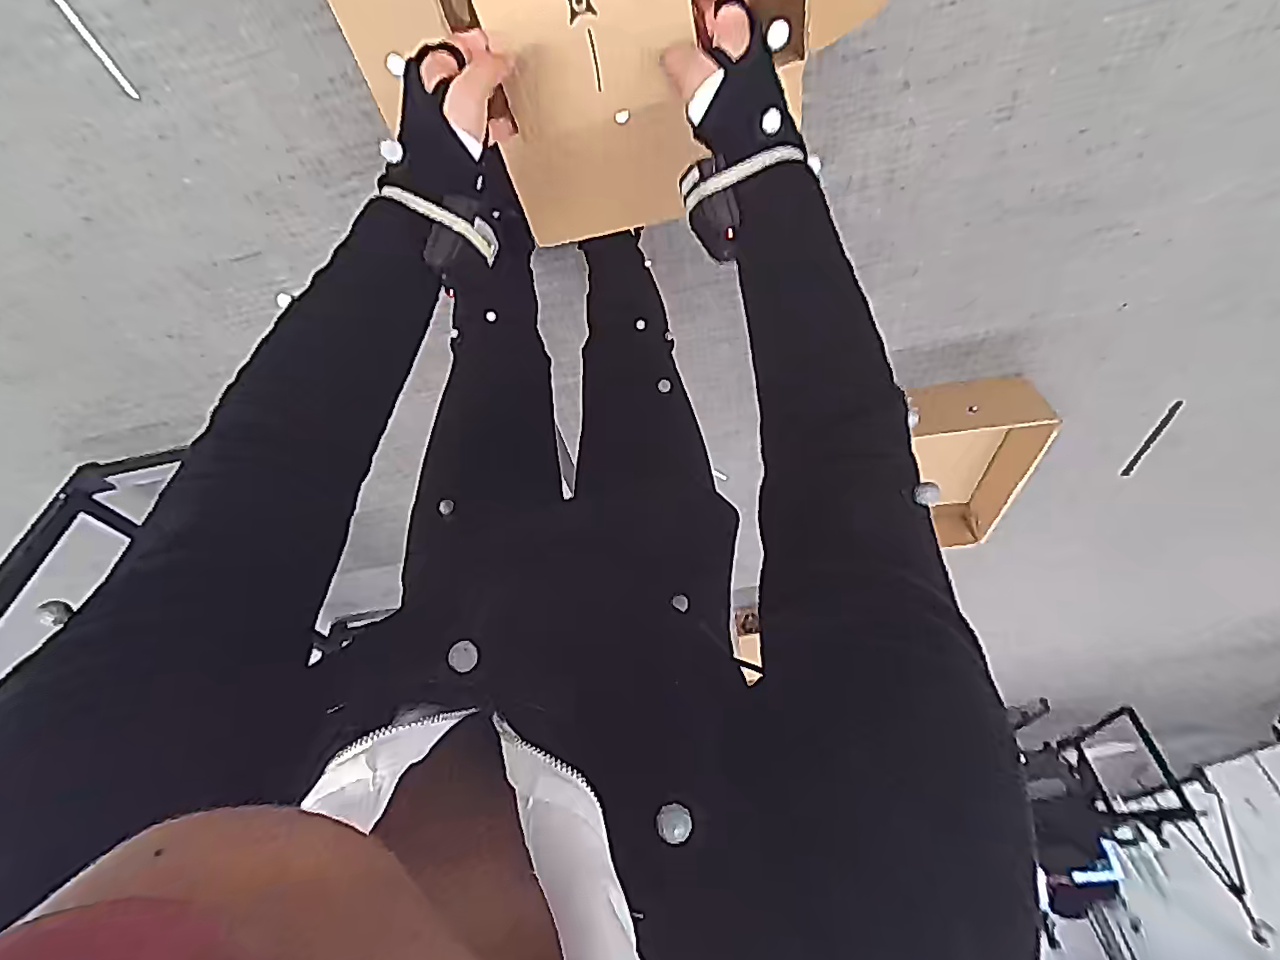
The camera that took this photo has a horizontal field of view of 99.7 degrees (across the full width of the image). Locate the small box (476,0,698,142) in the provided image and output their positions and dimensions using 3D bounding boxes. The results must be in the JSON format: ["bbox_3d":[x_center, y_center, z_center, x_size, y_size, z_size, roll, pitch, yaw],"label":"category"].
[{"bbox_3d":[-0.044,-0.437,0.486,0.168,0.176,0.179,-8,131,13],"label":"small box"}]
